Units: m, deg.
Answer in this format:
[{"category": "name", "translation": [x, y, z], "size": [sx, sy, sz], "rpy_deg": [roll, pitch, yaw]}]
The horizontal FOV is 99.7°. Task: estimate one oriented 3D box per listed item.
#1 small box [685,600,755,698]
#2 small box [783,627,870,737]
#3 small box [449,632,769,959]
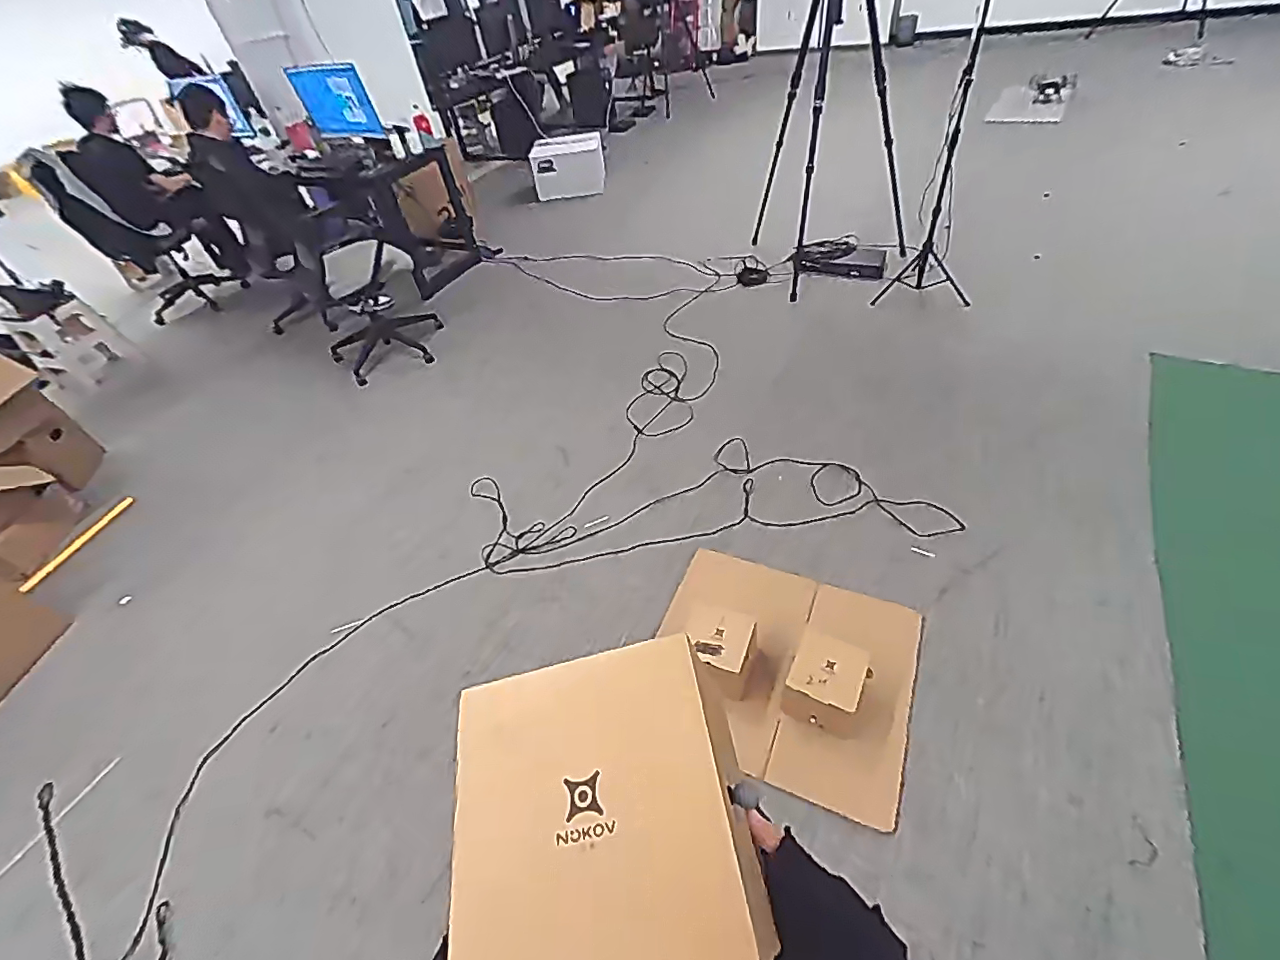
[{"category": "small box", "translation": [0.212, 0.464, 1.478], "size": [0.168, 0.176, 0.179], "rpy_deg": [12, 49, 22]}, {"category": "small box", "translation": [0.470, 0.517, 1.382], "size": [0.168, 0.176, 0.179], "rpy_deg": [17, 52, 26]}, {"category": "small box", "translation": [-0.014, 0.236, 0.383], "size": [0.168, 0.176, 0.179], "rpy_deg": [-16, 52, 5]}]
